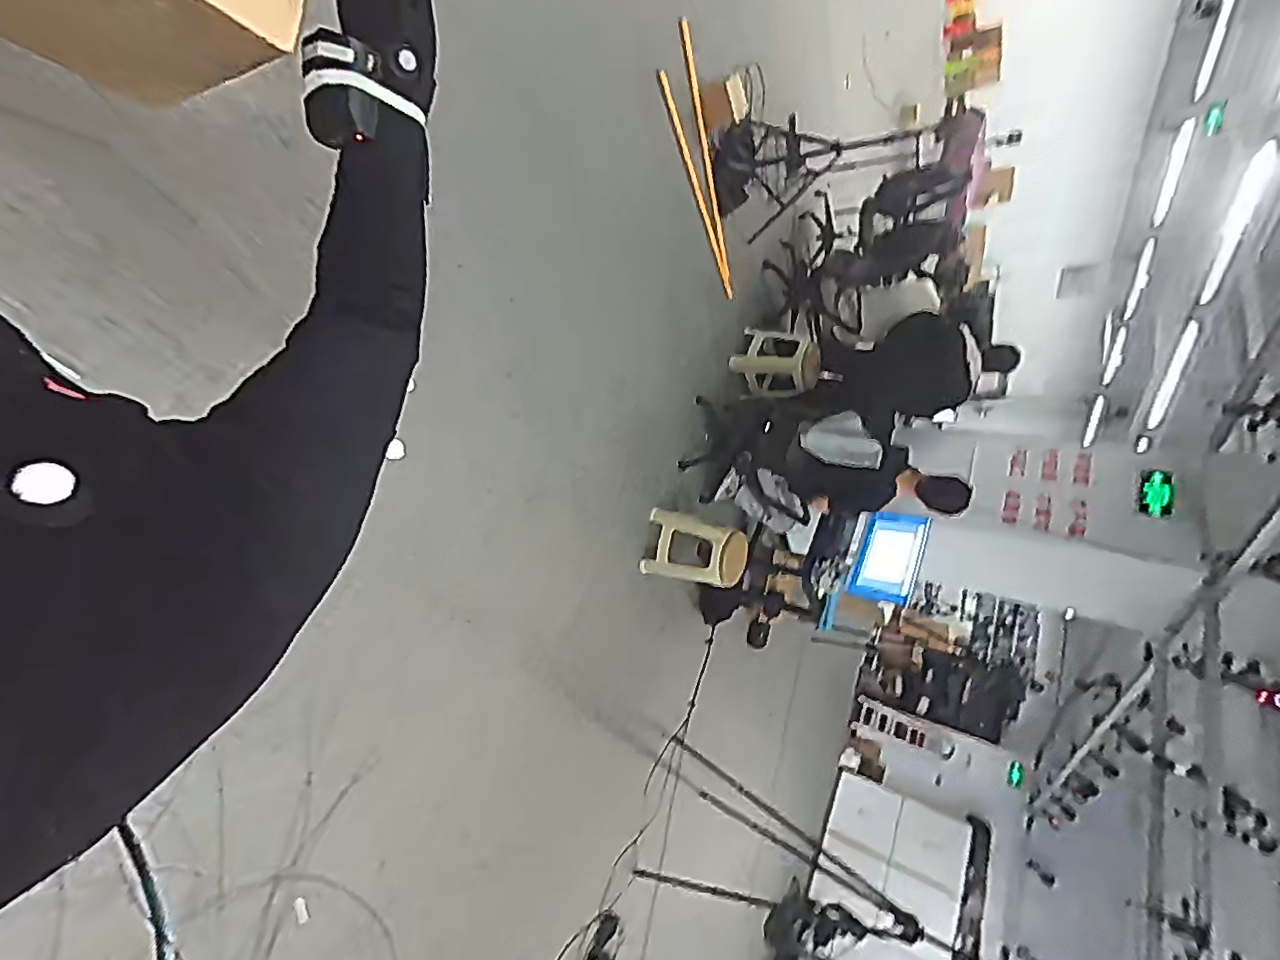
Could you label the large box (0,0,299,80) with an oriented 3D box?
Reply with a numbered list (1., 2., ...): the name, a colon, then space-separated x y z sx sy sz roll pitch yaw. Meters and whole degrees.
1. large box: -0.433 -0.503 0.270 0.408 0.320 0.320 5 102 -57
